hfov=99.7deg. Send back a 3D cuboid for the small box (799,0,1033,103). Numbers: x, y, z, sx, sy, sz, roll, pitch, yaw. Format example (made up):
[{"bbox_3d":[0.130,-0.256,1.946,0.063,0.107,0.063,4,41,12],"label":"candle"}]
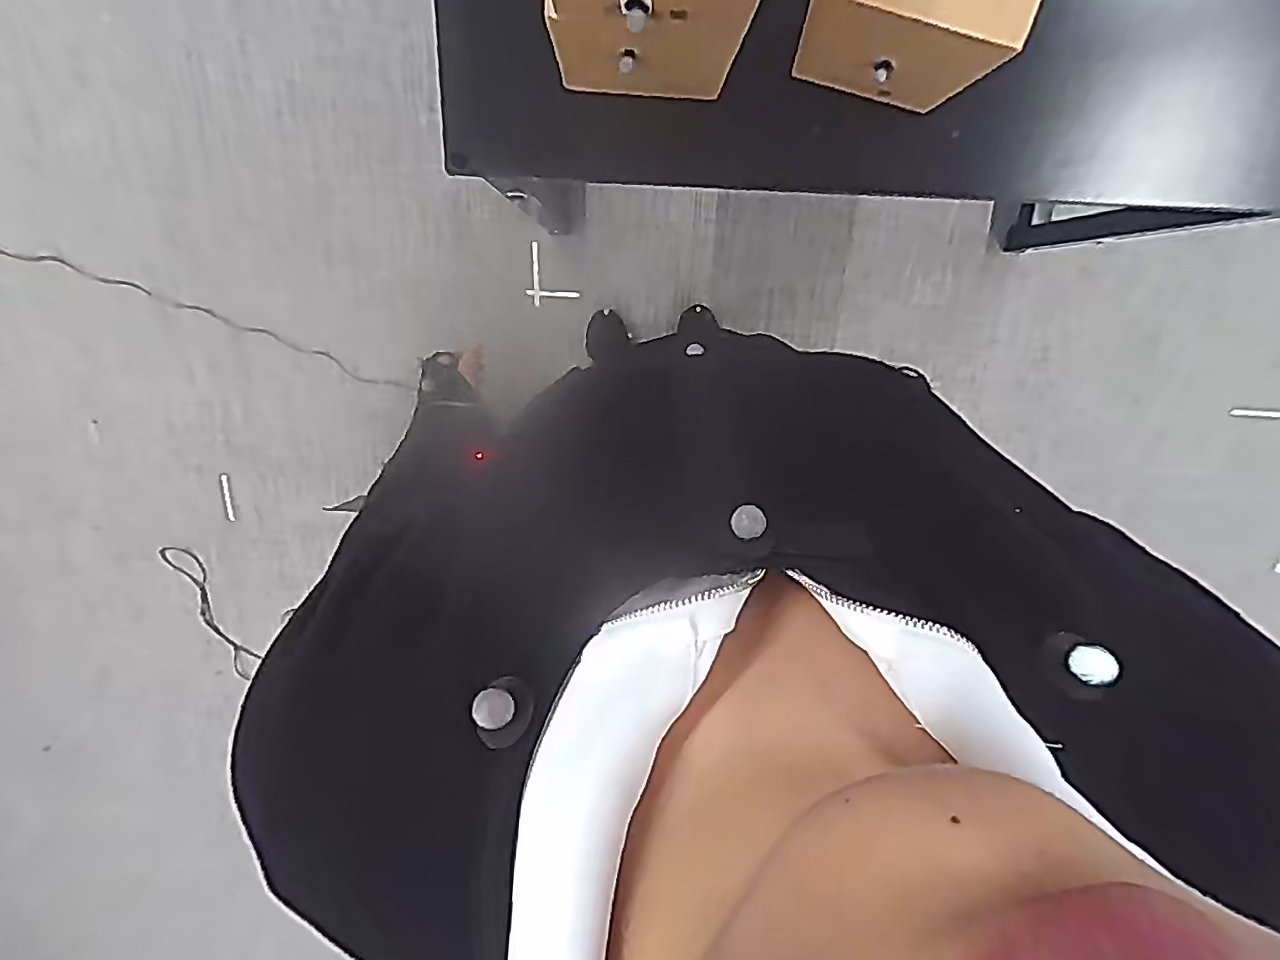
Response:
[{"bbox_3d":[0.270,-0.502,0.520,0.168,0.176,0.179,12,107,-5],"label":"small box"}]

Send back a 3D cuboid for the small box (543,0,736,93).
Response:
[{"bbox_3d":[0.008,-0.497,0.517,0.179,0.176,0.168,2,108,-1],"label":"small box"}]

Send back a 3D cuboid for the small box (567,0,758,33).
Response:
[{"bbox_3d":[0.019,-0.448,0.361,0.168,0.176,0.179,3,109,-2],"label":"small box"}]
